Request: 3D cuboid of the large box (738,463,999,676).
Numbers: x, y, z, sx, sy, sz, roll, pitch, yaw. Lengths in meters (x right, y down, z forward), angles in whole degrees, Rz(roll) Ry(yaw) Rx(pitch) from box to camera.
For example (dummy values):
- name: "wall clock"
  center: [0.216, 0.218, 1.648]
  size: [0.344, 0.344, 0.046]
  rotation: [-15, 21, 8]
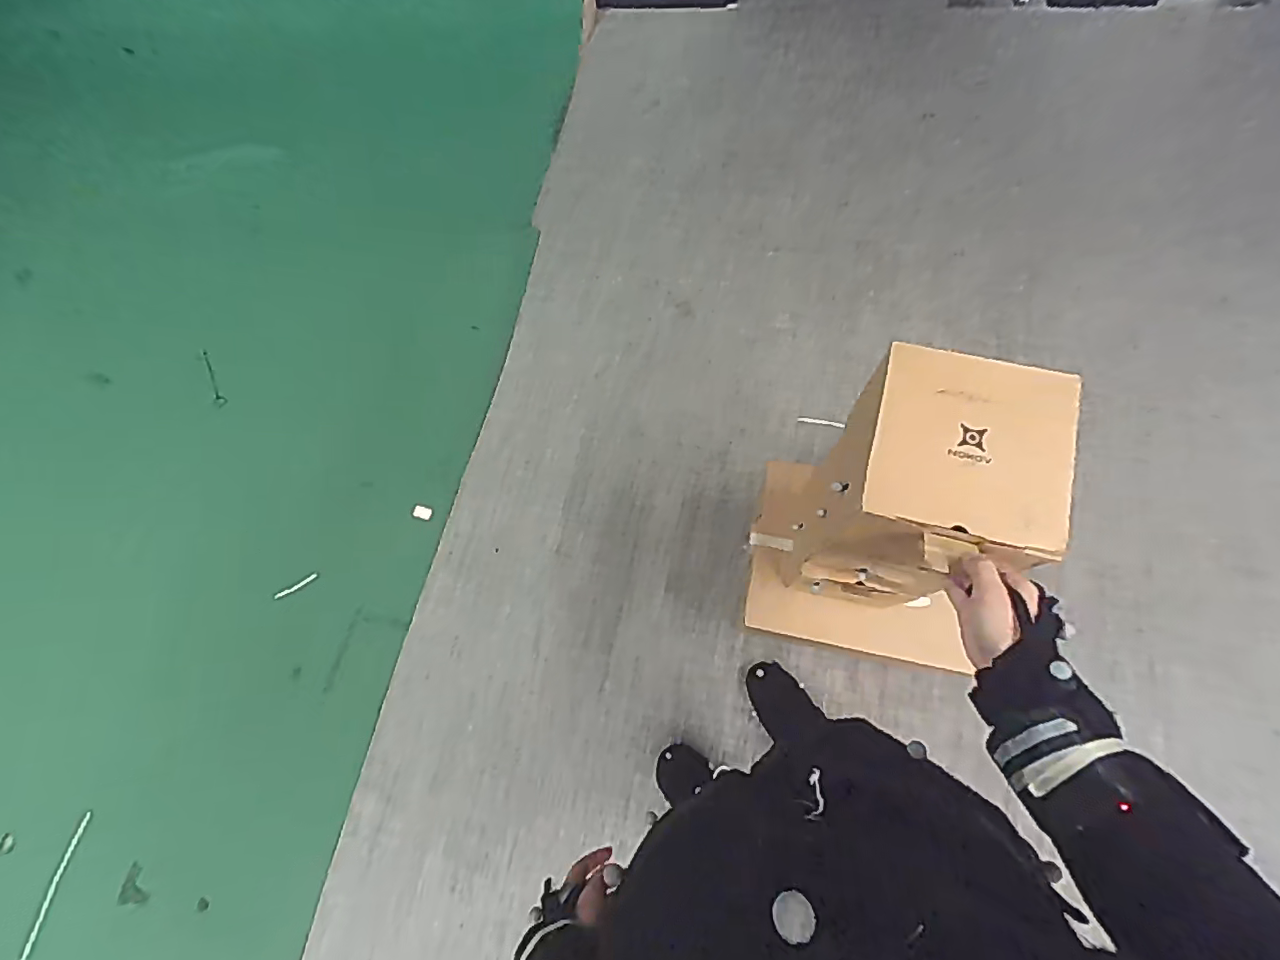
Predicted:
- name: "large box"
  center: [0.421, 0.184, 1.075]
  size: [0.408, 0.320, 0.320]
  rotation: [10, 75, 10]

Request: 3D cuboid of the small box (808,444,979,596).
- name: "small box"
  center: [0.328, 0.038, 0.704]
  size: [0.168, 0.176, 0.179]
  rotation: [15, 75, 12]

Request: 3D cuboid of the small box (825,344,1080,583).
- name: "small box"
  center: [0.297, -0.005, 0.549]
  size: [0.168, 0.176, 0.179]
  rotation: [15, 73, 10]
